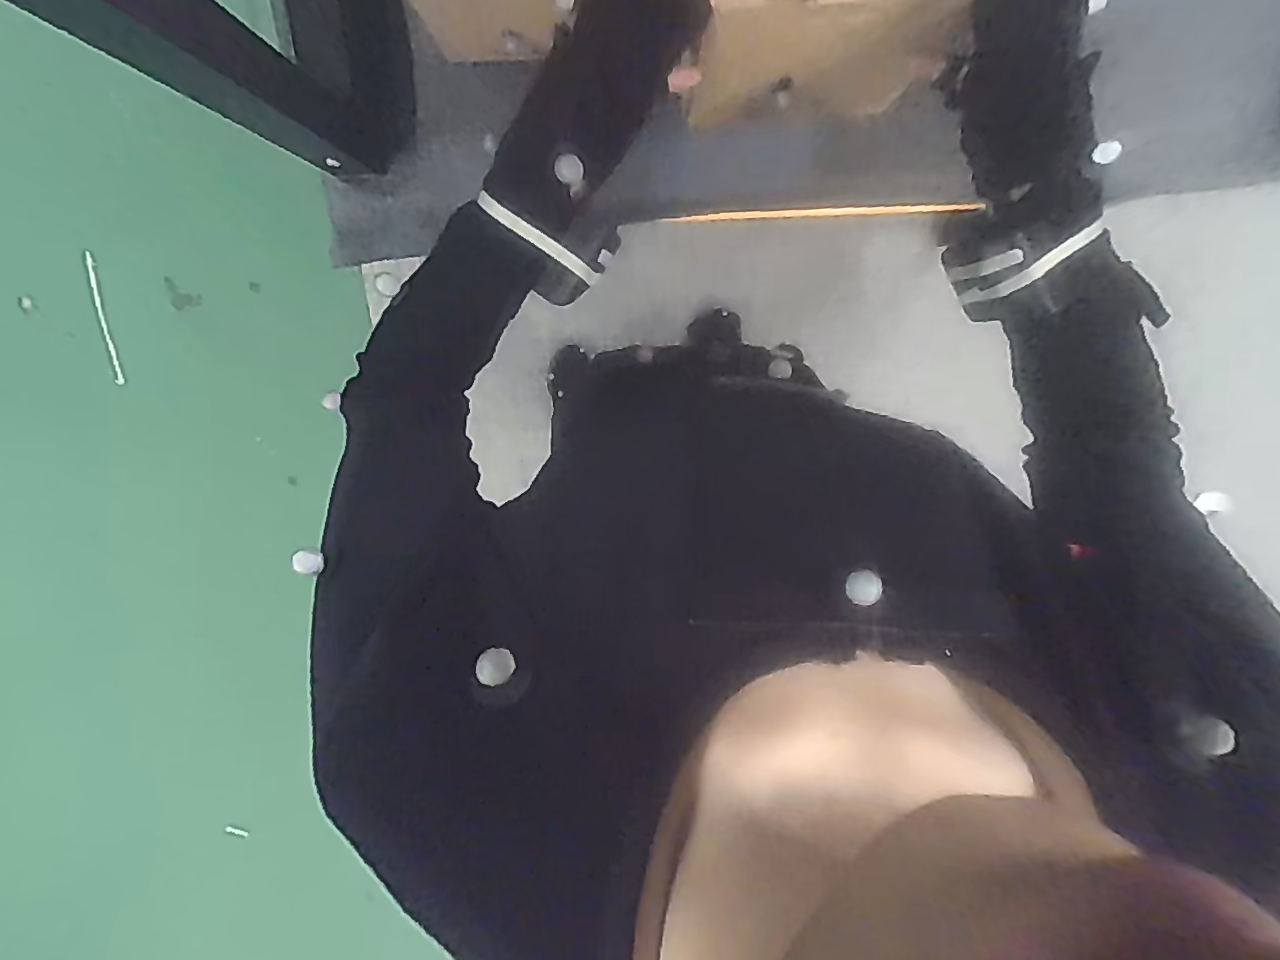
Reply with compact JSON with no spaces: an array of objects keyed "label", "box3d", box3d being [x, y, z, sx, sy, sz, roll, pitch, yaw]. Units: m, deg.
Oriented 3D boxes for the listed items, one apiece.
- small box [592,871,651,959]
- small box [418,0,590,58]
[{"label":"small box","box3d":[-0.061,1.422,1.772,0.168,0.176,0.179,-9,105,2]},{"label":"small box","box3d":[-0.136,-0.532,0.497,0.168,0.176,0.179,-2,105,0]}]
